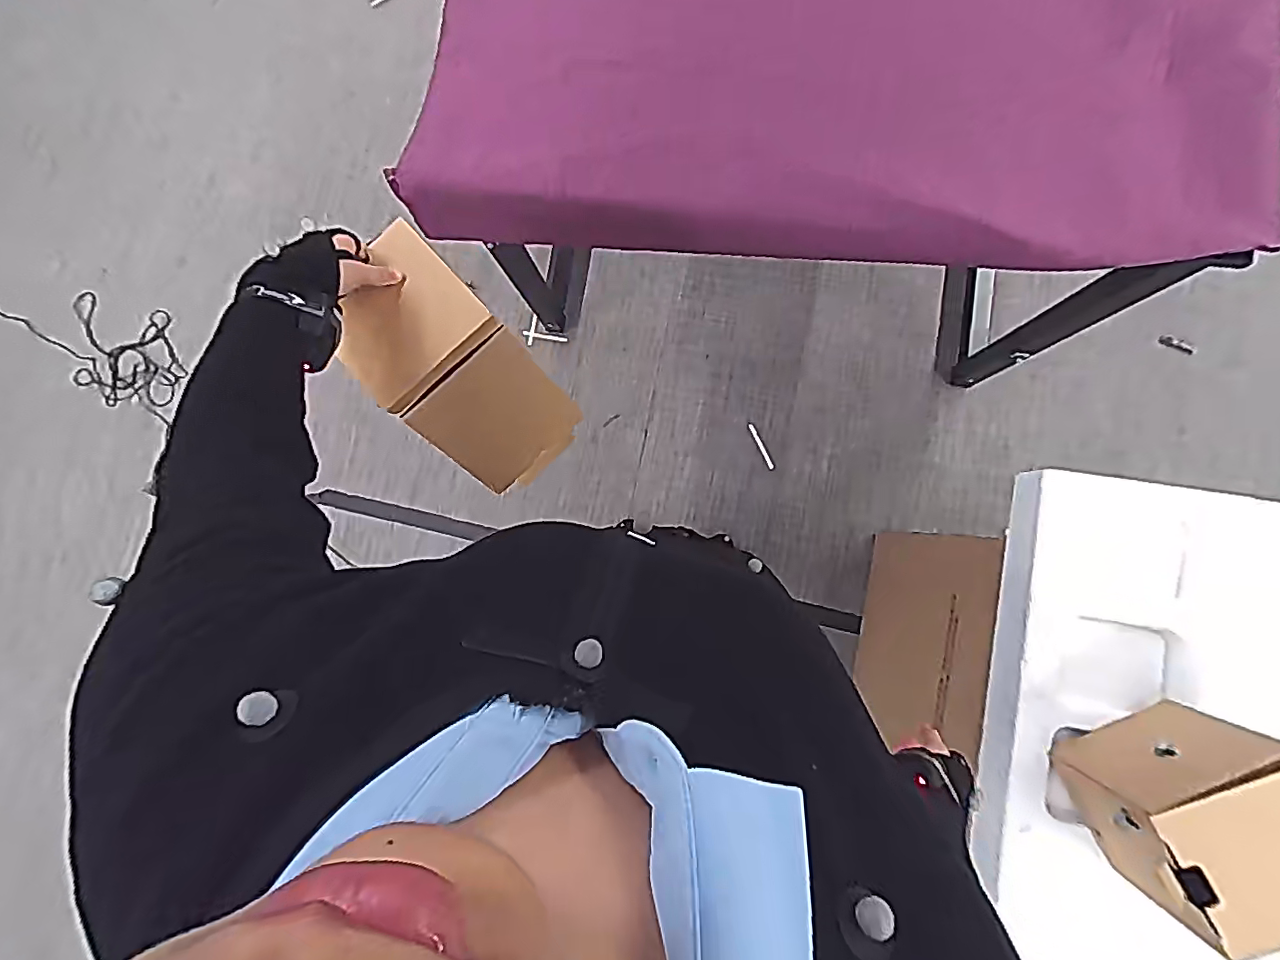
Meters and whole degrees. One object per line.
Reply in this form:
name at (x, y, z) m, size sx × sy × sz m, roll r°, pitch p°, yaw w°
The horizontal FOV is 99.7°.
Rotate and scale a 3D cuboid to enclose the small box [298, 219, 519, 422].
small box at (-0.283, -0.190, 0.708) m, size 0.168 × 0.176 × 0.179 m, roll -43°, pitch 92°, yaw -2°
